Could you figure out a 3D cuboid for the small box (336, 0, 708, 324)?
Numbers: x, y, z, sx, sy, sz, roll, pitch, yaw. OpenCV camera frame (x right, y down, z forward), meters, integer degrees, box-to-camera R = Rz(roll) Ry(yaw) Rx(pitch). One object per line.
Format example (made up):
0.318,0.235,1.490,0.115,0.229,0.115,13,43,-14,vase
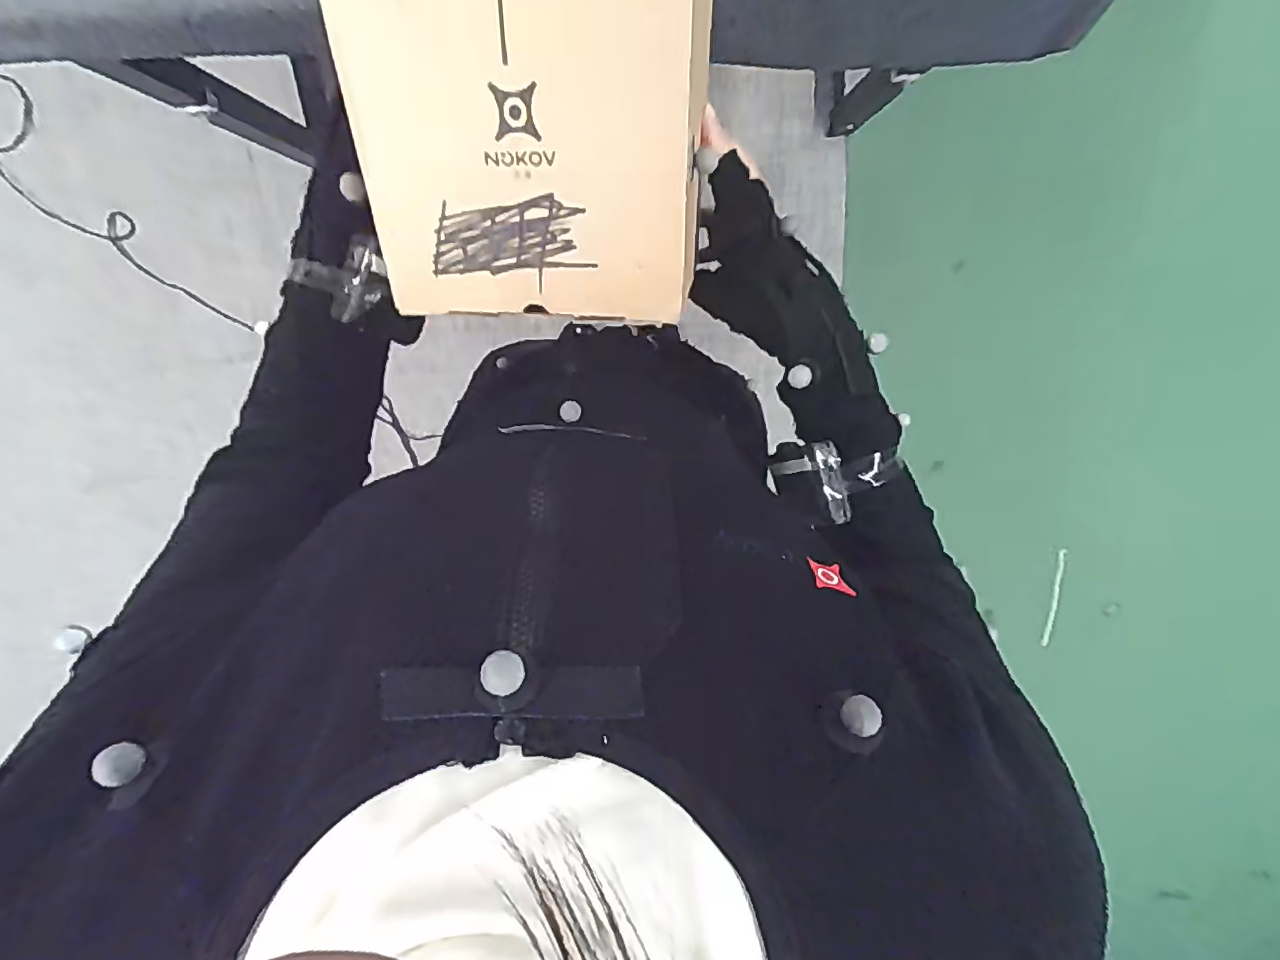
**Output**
-0.047,-0.209,0.333,0.168,0.176,0.179,4,121,6,small box
